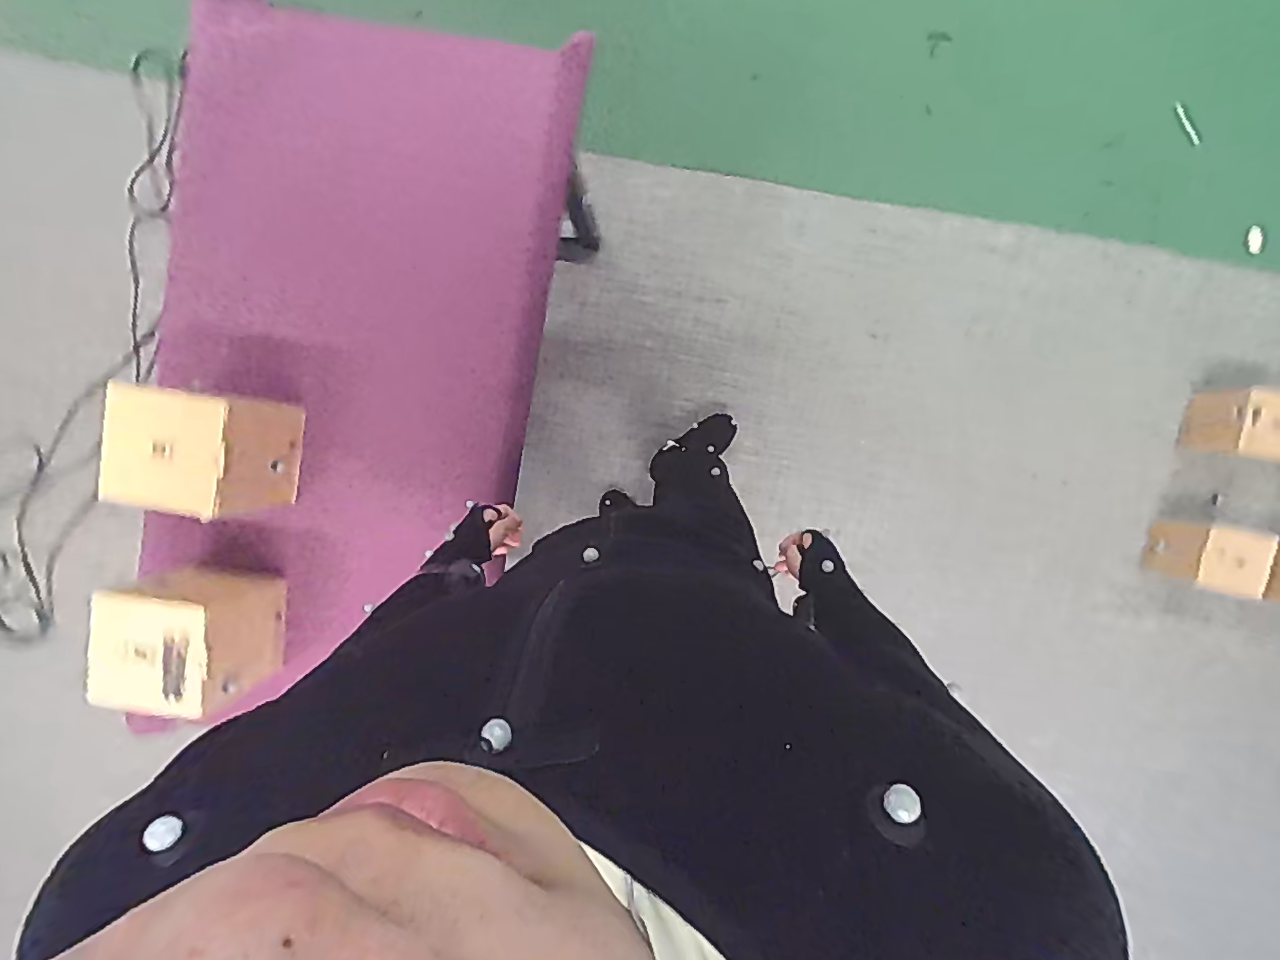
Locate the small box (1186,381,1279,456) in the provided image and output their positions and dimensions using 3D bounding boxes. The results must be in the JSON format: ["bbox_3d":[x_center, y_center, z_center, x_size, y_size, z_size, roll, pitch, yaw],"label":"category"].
[{"bbox_3d":[1.626,-0.159,1.427,0.179,0.176,0.168,11,94,2],"label":"small box"}]

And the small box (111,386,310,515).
[{"bbox_3d":[-0.667,-0.046,0.855,0.179,0.176,0.168,9,94,2],"label":"small box"}]

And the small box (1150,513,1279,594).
[{"bbox_3d":[1.553,0.191,1.456,0.179,0.176,0.168,12,94,2],"label":"small box"}]
